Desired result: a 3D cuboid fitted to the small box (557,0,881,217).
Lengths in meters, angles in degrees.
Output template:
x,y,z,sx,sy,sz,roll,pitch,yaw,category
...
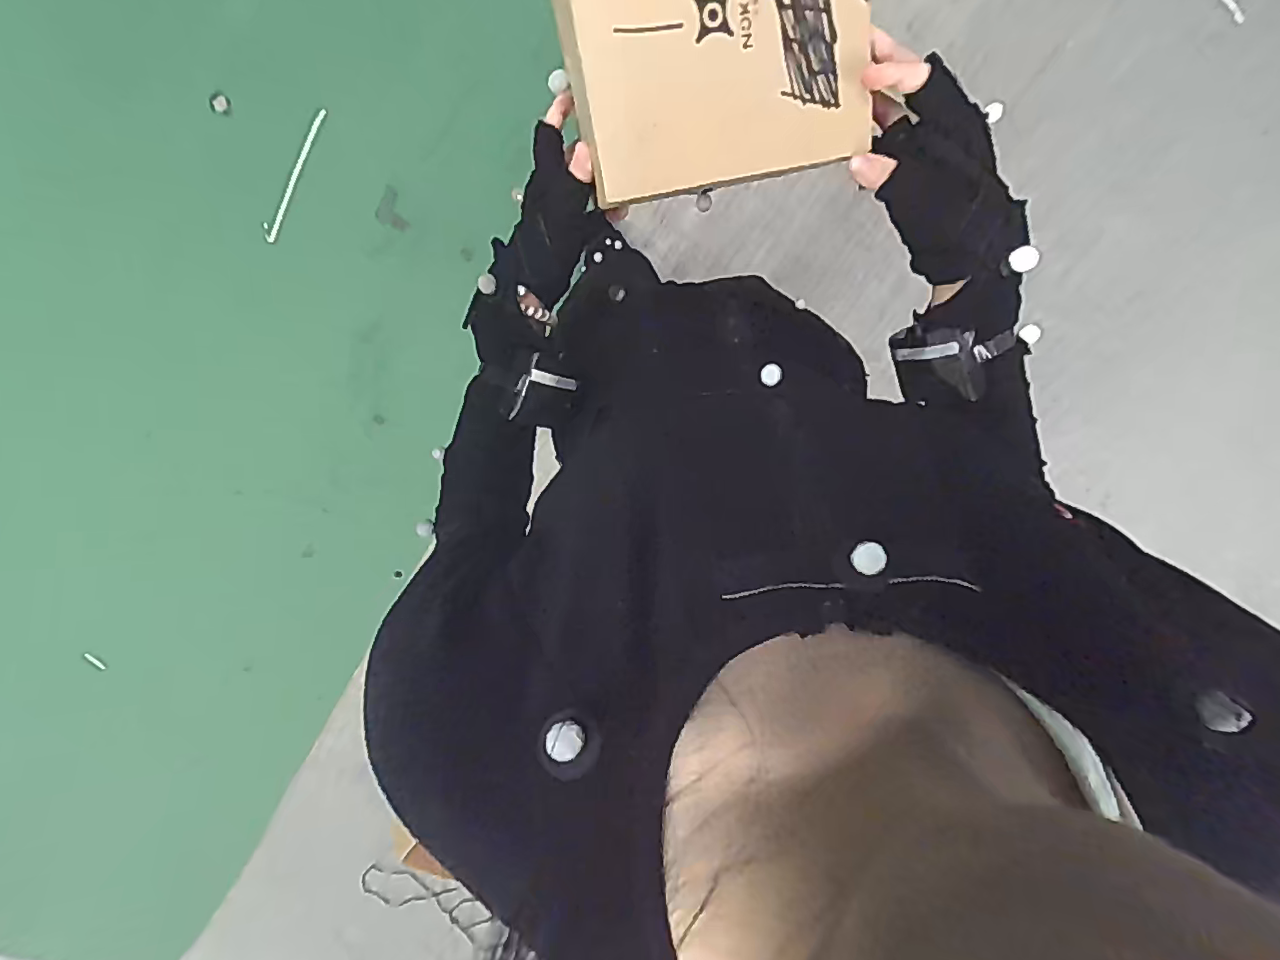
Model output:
x,y,z,sx,sy,sz,roll,pitch,yaw,category
0.042,-0.286,0.373,0.179,0.176,0.168,-11,116,-2,small box
